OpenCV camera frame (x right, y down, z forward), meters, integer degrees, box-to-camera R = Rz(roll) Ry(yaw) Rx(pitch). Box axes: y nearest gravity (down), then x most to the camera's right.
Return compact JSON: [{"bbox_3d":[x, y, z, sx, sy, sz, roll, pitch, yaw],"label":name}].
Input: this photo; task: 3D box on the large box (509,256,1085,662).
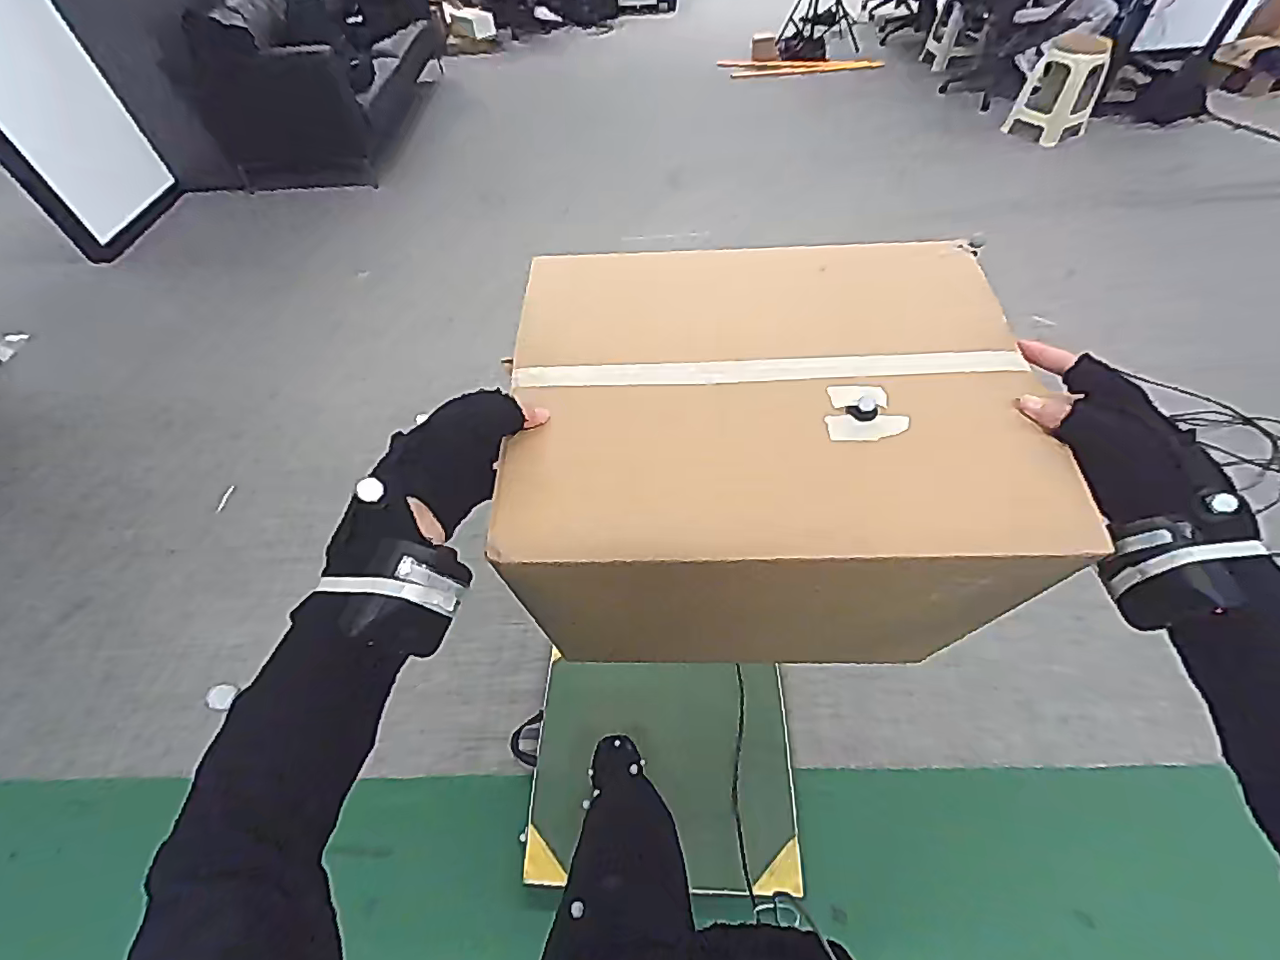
[{"bbox_3d":[0.107,-0.003,0.572,0.408,0.320,0.320,-1,59,2],"label":"large box"}]
